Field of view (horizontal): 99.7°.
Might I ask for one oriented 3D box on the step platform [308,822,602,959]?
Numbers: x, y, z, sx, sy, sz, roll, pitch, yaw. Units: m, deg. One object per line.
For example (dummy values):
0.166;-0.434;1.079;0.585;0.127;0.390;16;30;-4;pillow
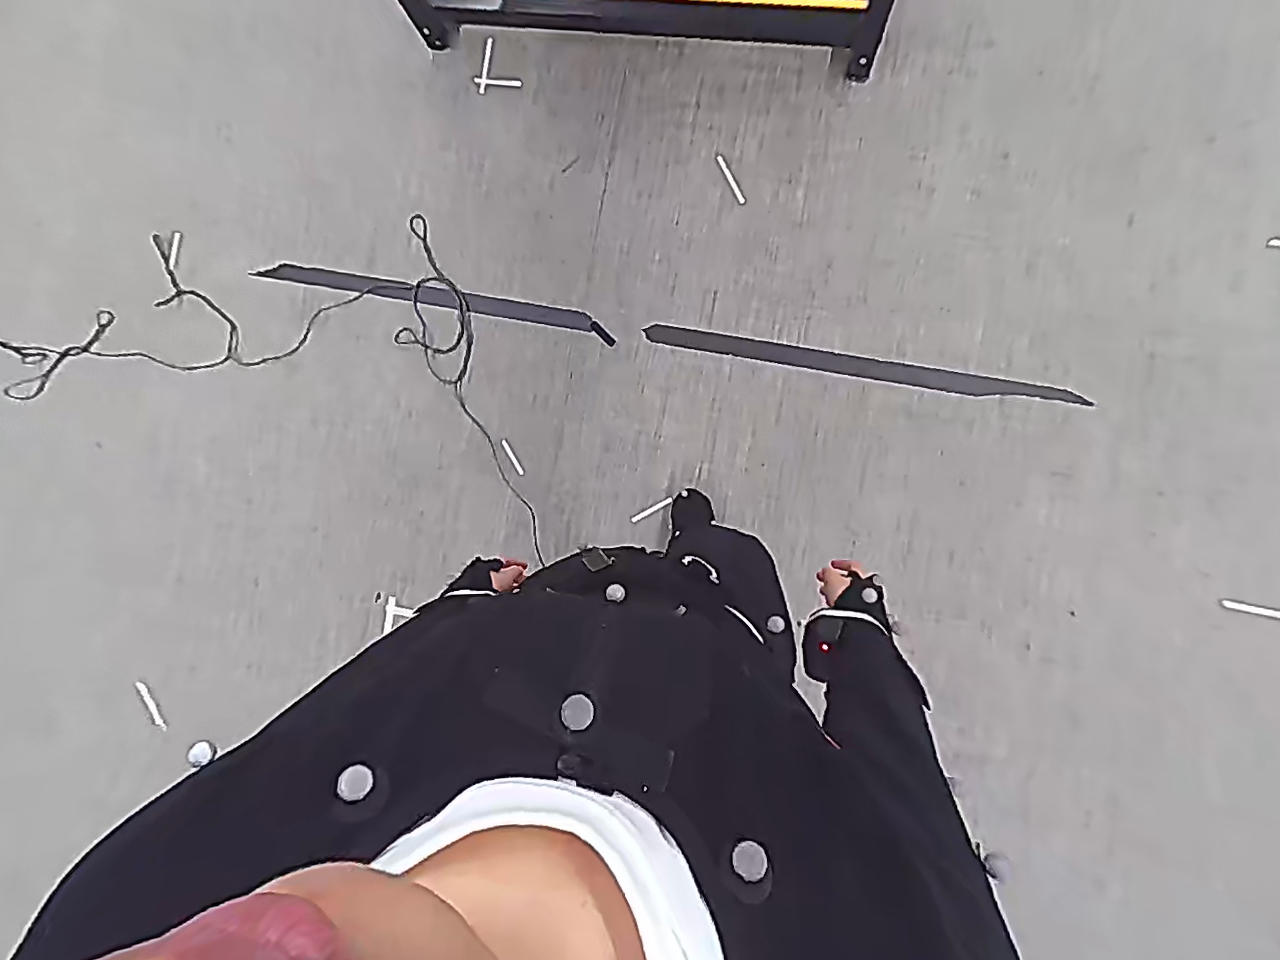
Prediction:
-0.447;1.109;1.318;0.684;0.204;0.286;10;90;7;step platform
